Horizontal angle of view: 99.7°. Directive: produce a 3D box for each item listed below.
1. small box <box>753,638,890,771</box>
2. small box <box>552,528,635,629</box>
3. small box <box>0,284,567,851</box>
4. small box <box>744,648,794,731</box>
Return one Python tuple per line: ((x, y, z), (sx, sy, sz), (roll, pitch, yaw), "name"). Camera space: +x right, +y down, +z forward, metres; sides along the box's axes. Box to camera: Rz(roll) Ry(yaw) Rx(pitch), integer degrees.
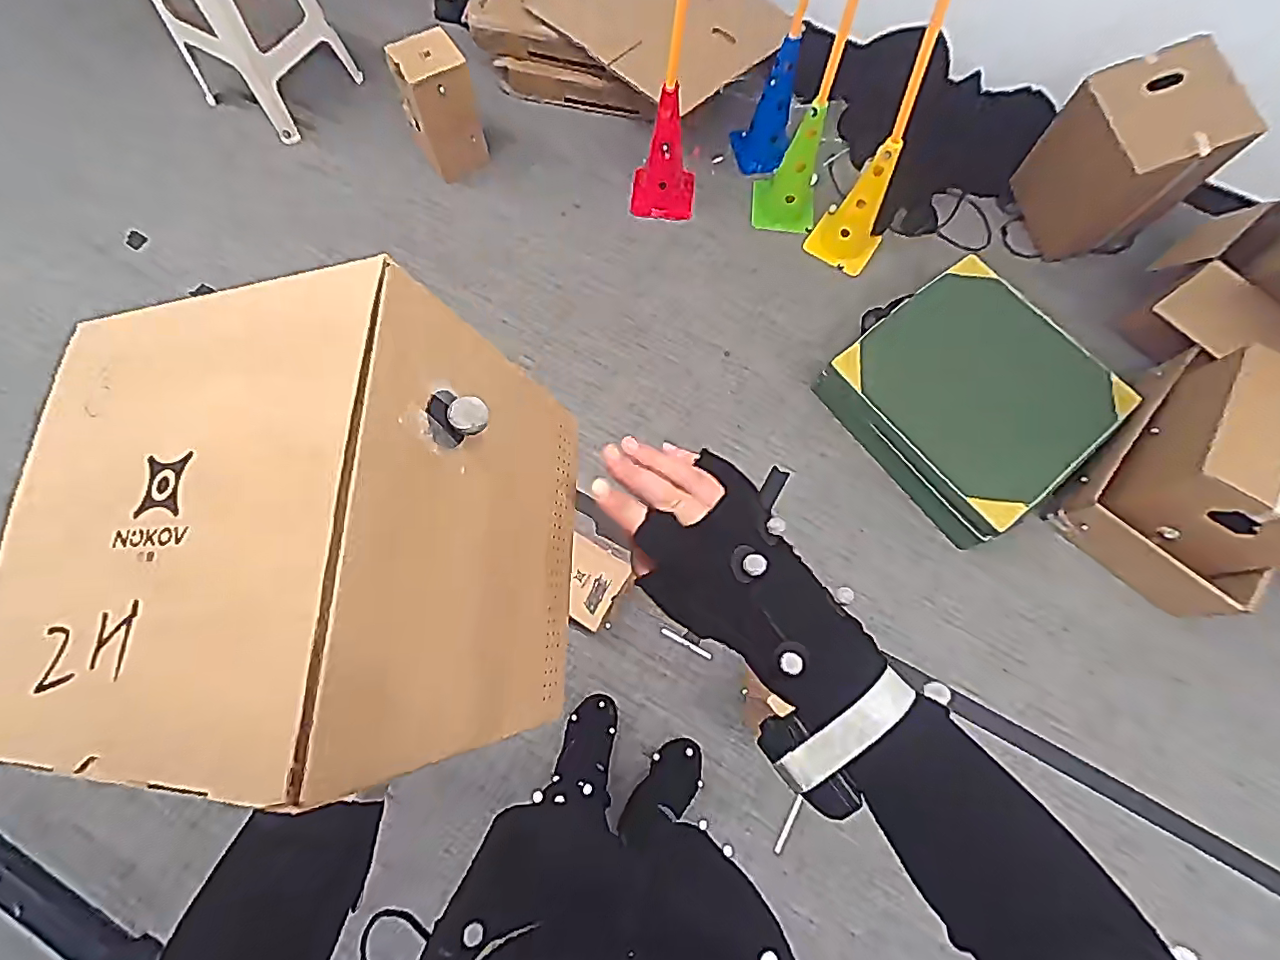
((0.344, 0.436, 1.073), (0.179, 0.176, 0.168), (-35, 78, -12), "small box")
((-0.126, 0.241, 1.296), (0.179, 0.176, 0.168), (31, 74, 9), "small box")
((-0.149, 0.033, 0.265), (0.168, 0.176, 0.179), (1, 78, 20), "small box")
((0.342, 0.473, 1.235), (0.179, 0.176, 0.168), (-2, 72, -3), "small box")
